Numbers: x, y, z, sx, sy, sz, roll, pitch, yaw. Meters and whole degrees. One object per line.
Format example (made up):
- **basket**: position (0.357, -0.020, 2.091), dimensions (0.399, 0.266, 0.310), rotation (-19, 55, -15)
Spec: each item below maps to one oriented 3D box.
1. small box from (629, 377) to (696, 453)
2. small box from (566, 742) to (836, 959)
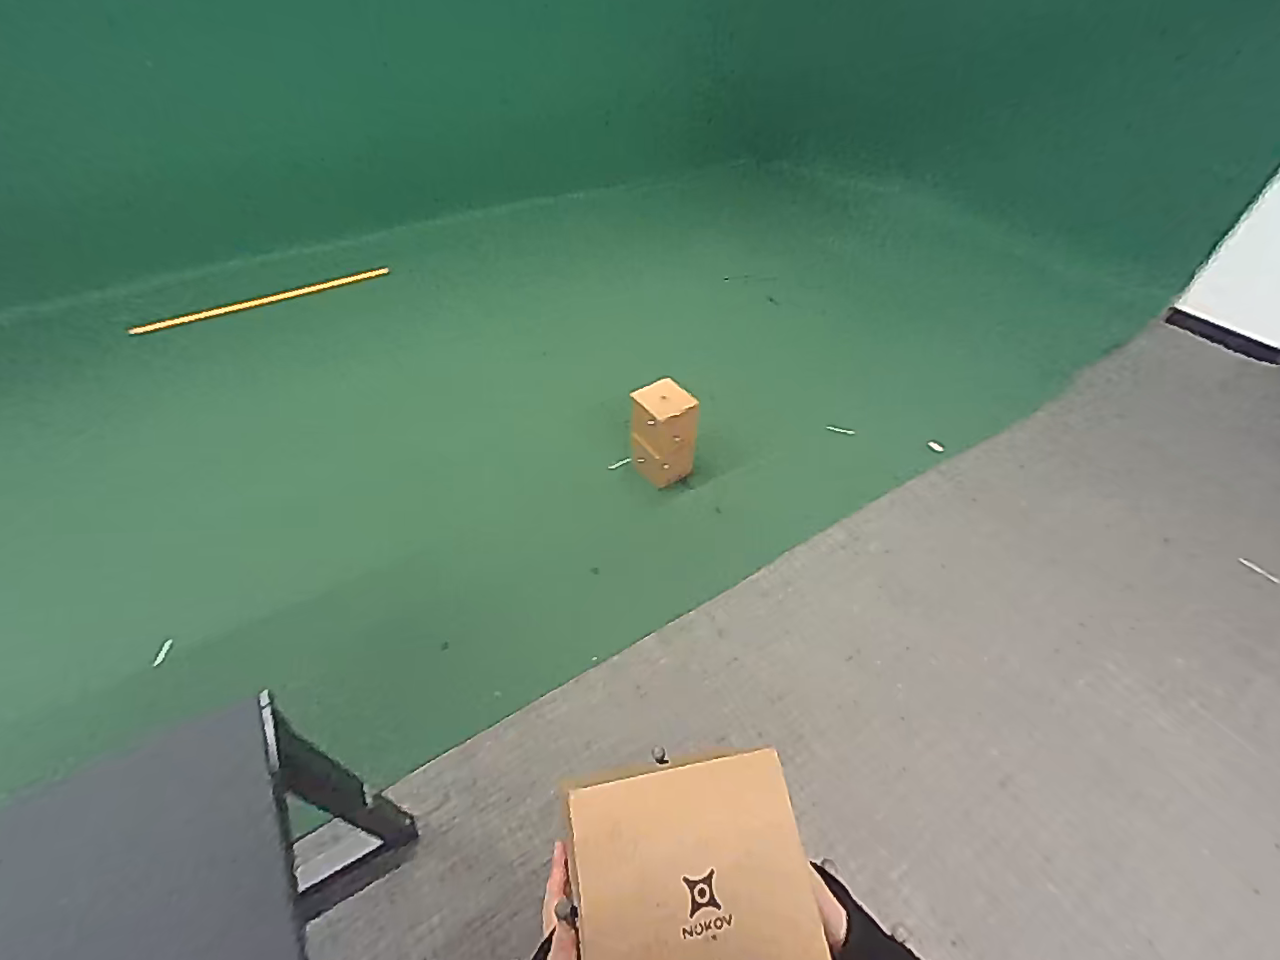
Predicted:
- **small box**: position (0.073, -0.226, 1.892), dimensions (0.168, 0.176, 0.179), rotation (-28, 54, -24)
- **small box**: position (0.032, 0.324, 0.438), dimensions (0.168, 0.176, 0.179), rotation (-3, 63, -13)
